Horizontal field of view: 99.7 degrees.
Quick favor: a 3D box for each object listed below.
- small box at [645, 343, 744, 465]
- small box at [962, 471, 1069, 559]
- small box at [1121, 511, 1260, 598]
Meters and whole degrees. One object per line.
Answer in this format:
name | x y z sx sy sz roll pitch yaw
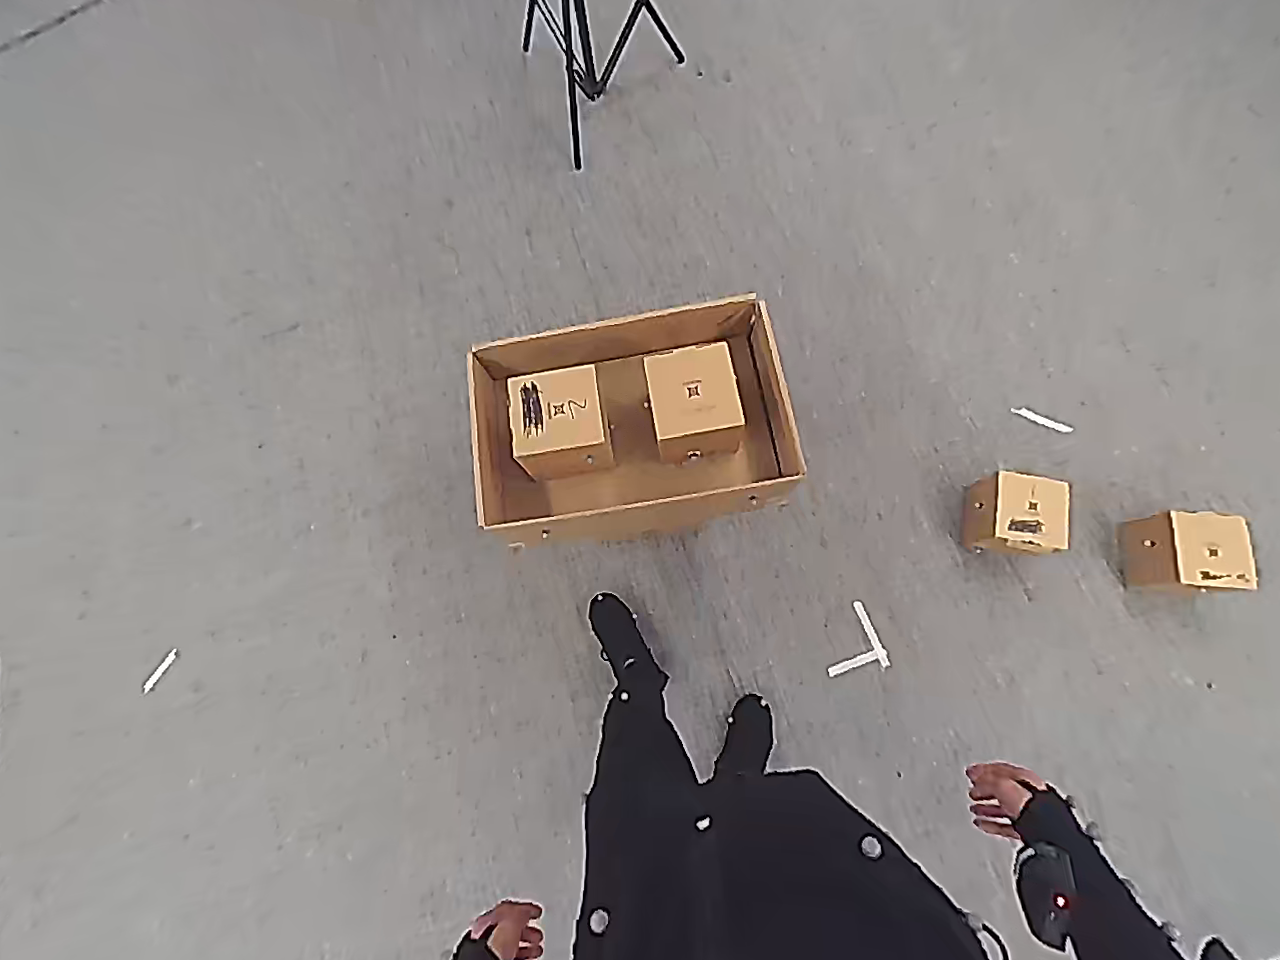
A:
small box | 0.106 -0.147 1.092 0.168 0.176 0.179 -10 72 3
small box | 0.955 0.097 1.387 0.168 0.176 0.179 12 75 8
small box | 1.336 0.187 1.329 0.168 0.176 0.179 5 74 7
